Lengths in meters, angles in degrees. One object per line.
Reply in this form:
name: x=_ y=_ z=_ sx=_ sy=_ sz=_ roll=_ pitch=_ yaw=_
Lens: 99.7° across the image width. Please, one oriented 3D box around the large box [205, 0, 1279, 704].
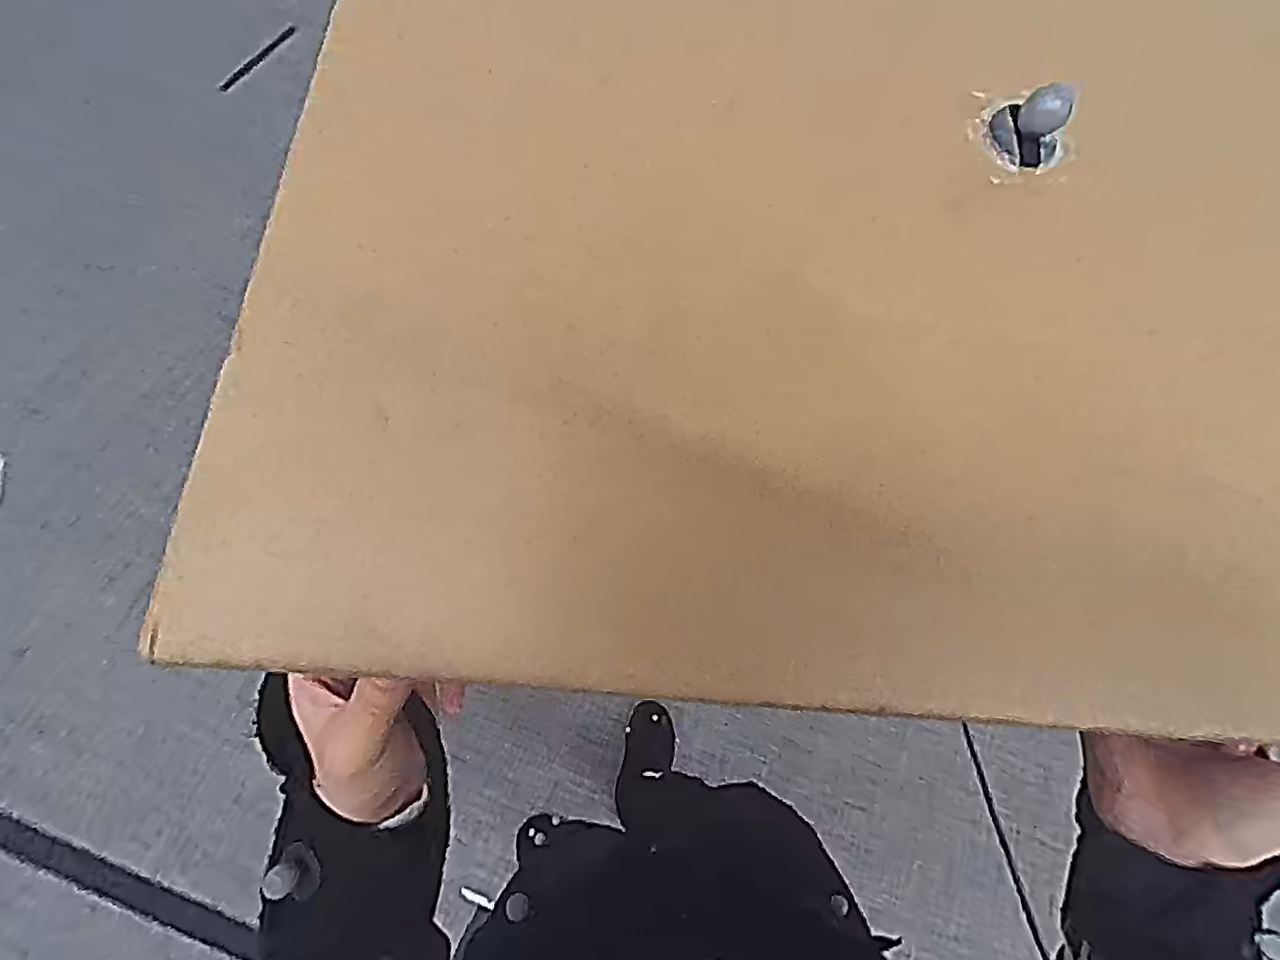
large box: x=0.098 y=-0.064 z=0.307 sx=0.408 sy=0.320 sz=0.320 roll=6 pitch=77 yaw=-4
